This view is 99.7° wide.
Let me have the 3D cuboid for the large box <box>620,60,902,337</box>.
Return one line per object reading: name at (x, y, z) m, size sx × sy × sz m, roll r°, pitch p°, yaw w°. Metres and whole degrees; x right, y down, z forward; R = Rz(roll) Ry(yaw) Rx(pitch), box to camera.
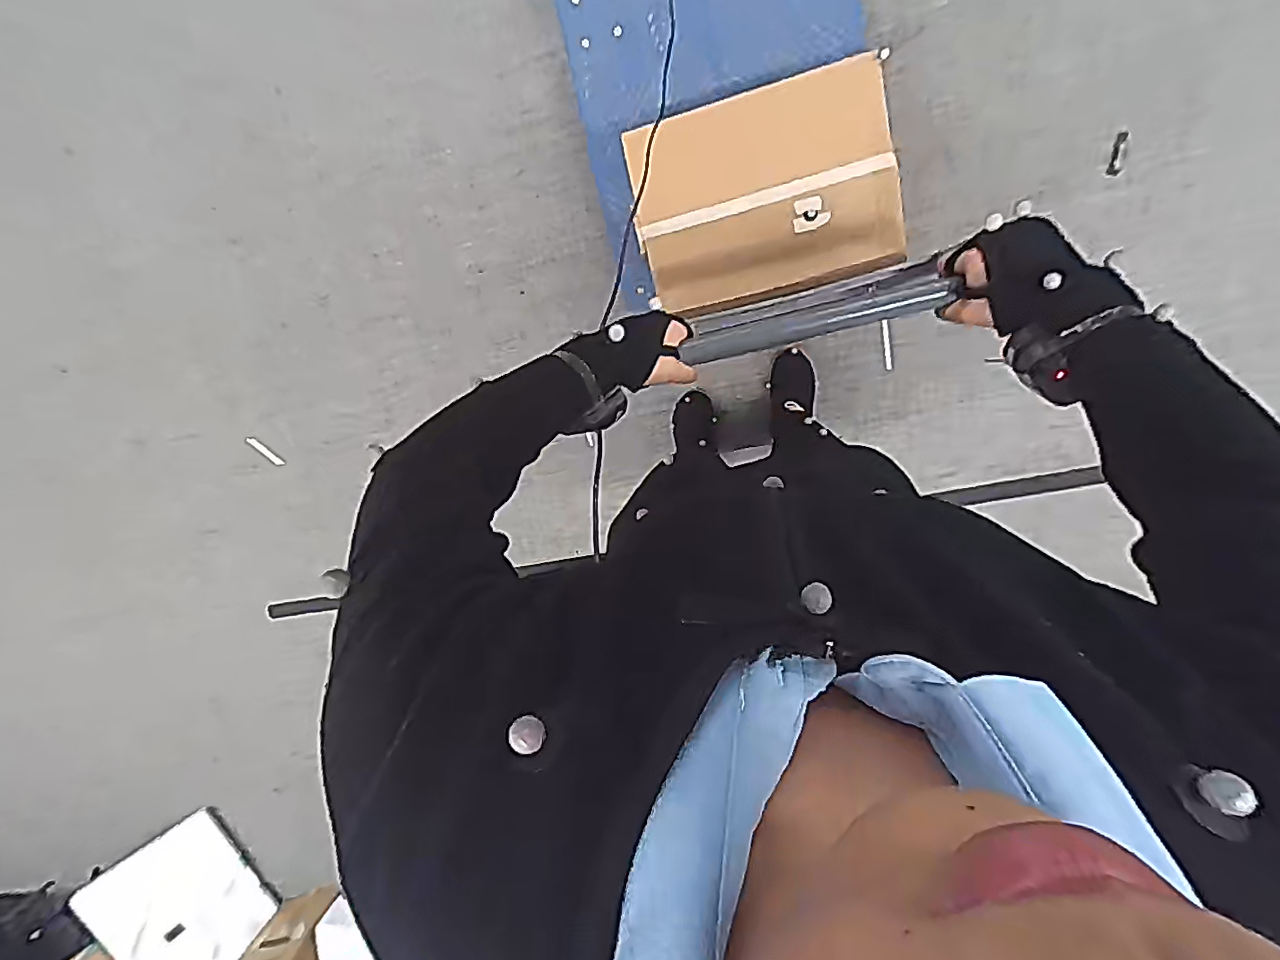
large box at (0.211, -0.473, 1.010) m, size 0.408 × 0.320 × 0.320 m, roll -12°, pitch 102°, yaw 10°
